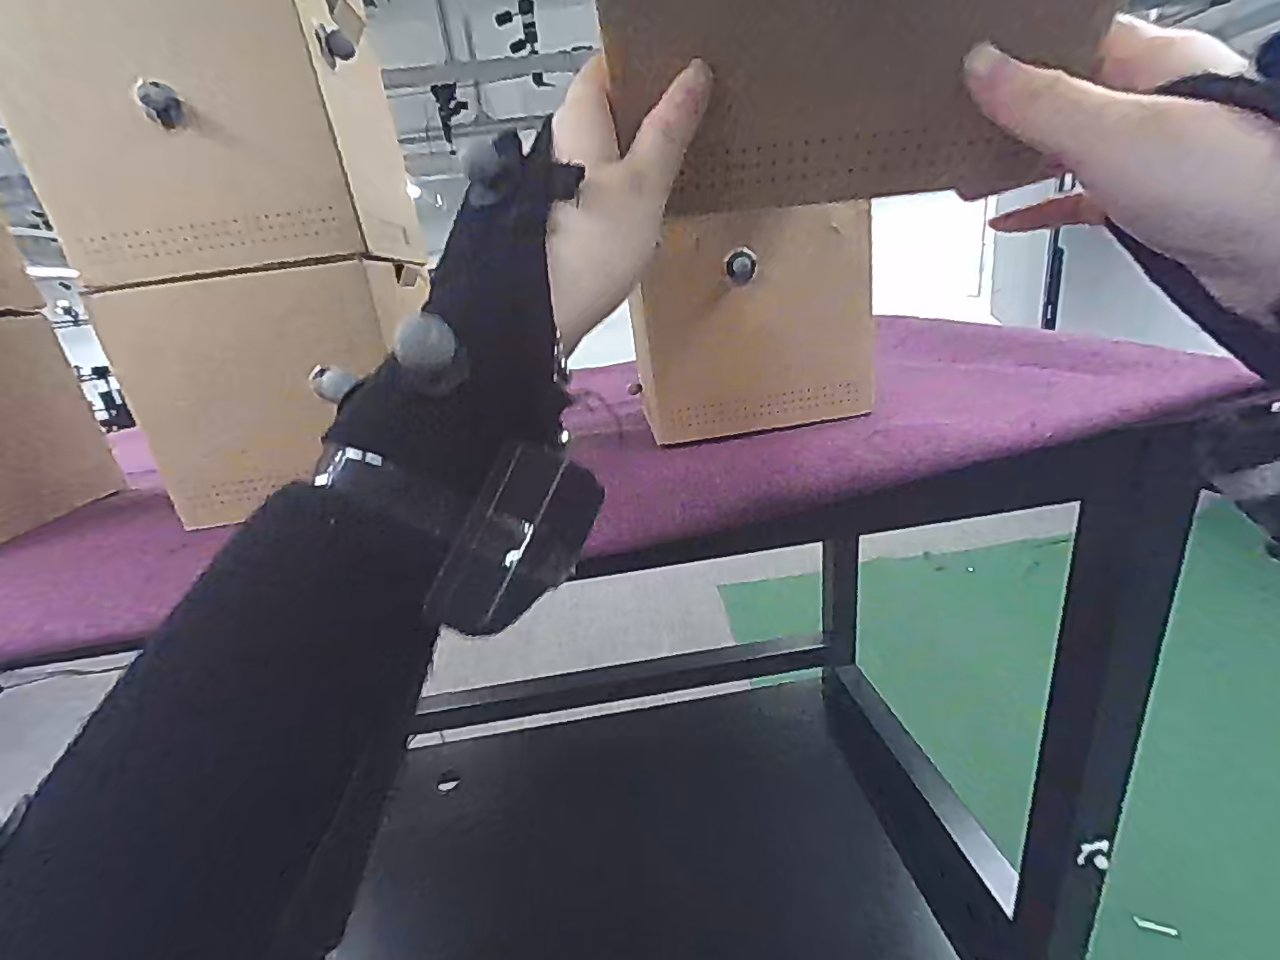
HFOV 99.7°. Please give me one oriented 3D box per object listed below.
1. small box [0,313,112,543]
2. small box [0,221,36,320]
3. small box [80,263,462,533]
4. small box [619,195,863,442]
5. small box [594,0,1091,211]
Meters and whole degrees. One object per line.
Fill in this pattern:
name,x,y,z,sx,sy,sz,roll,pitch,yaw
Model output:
small box,-0.576,-0.027,0.412,0.168,0.176,0.179,-7,21,-4
small box,-0.593,-0.178,0.355,0.179,0.176,0.168,-8,22,-5
small box,-0.259,-0.074,0.439,0.179,0.176,0.168,-10,20,-4
small box,0.081,-0.137,0.479,0.179,0.176,0.168,-8,18,-2
small box,0.070,-0.232,0.214,0.179,0.176,0.168,-3,59,7
